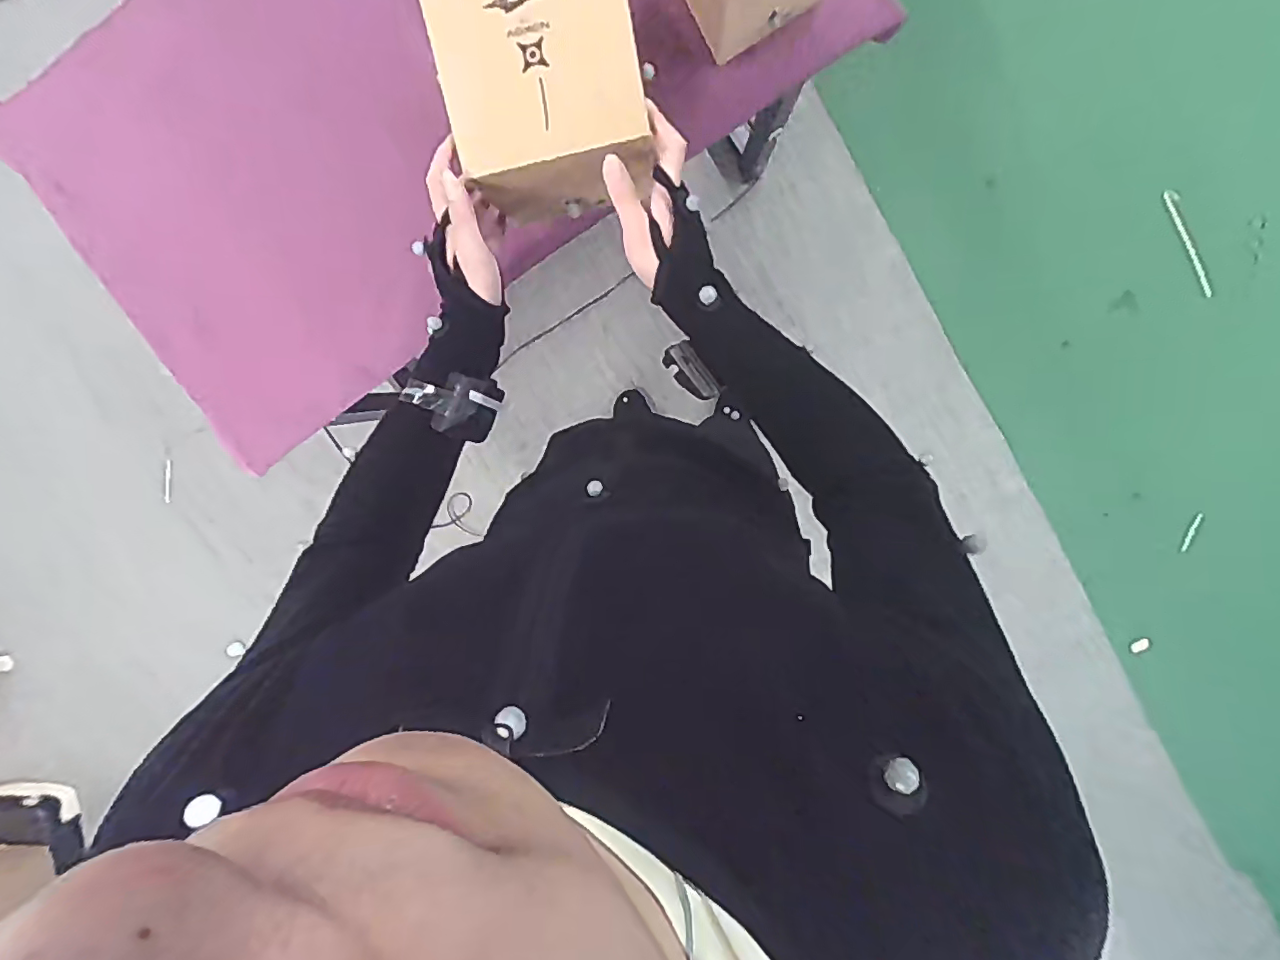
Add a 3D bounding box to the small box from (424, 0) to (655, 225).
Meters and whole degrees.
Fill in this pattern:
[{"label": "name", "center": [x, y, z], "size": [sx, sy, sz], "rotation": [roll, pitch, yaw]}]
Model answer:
[{"label": "small box", "center": [-0.081, -0.369, 0.515], "size": [0.168, 0.176, 0.179], "rotation": [-10, 102, 6]}]
